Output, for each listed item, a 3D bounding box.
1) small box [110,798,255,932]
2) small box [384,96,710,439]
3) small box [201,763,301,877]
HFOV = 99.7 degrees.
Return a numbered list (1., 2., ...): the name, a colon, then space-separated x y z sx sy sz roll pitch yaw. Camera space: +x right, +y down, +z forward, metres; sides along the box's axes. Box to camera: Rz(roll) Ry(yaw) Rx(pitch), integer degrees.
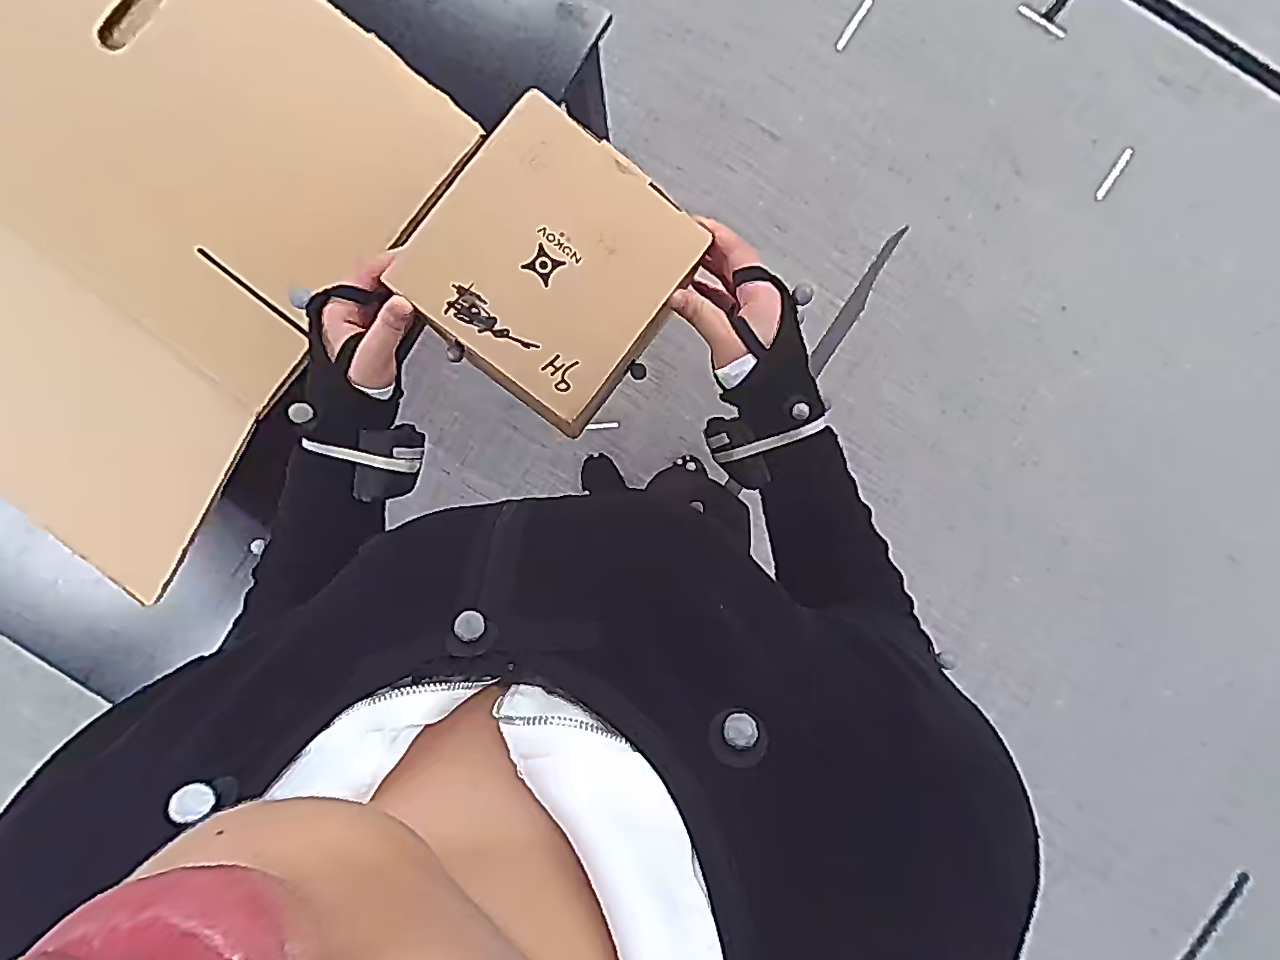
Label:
1. small box: -1.077 0.905 1.292 0.179 0.176 0.168 26 91 1
2. small box: -0.071 -0.155 0.459 0.168 0.176 0.179 37 85 -3
3. small box: -1.070 0.901 1.454 0.179 0.176 0.168 29 93 -2
